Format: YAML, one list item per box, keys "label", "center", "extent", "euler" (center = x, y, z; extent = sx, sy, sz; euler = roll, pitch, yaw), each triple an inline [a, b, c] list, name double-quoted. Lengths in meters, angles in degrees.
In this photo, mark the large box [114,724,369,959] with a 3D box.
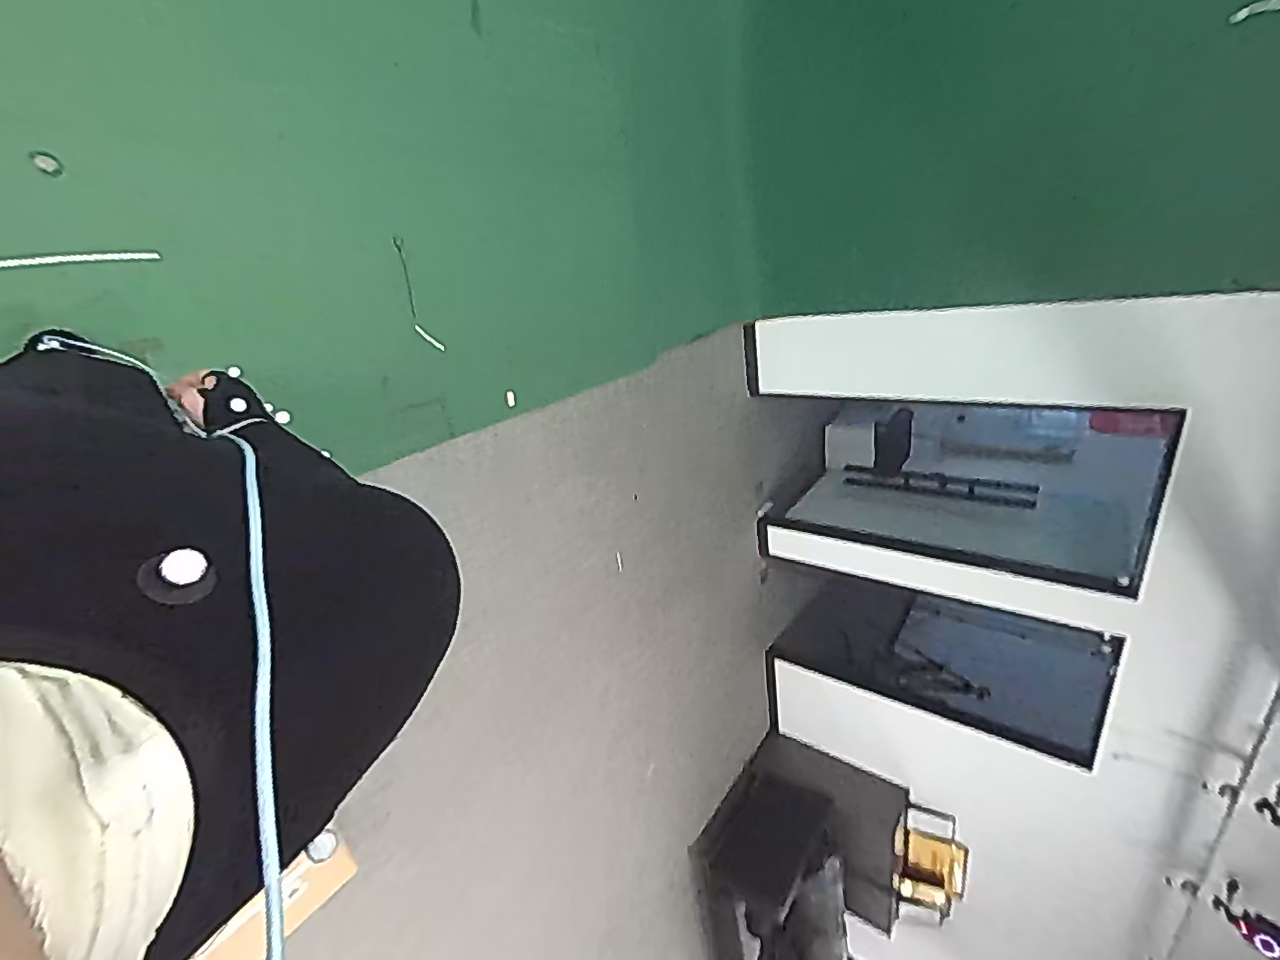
- label: "large box"
  center: [-1.017, 0.941, 1.410]
  extent: [0.408, 0.320, 0.320]
  euler: [-35, 124, -43]
